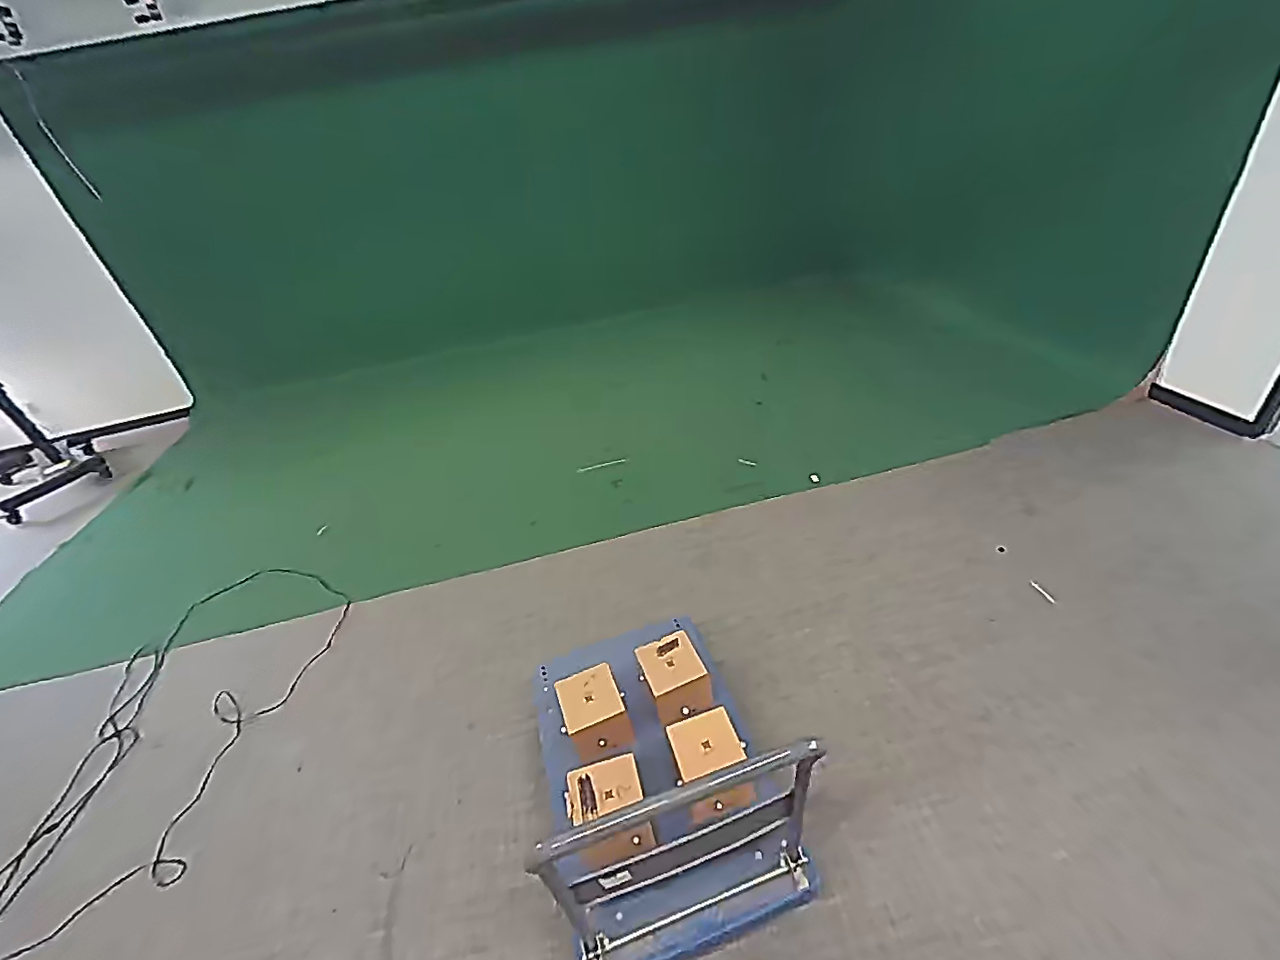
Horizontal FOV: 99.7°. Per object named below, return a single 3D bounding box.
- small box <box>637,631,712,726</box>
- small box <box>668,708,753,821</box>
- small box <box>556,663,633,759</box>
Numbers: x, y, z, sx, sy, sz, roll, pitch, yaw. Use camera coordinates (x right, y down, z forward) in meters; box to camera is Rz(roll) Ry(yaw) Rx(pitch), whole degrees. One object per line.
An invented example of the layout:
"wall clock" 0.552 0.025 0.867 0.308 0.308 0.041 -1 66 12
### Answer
"small box" 0.103 0.592 1.614 0.168 0.176 0.179 -20 37 -11
"small box" 0.181 0.735 1.399 0.168 0.176 0.179 -16 36 -8
"small box" -0.130 0.674 1.562 0.168 0.176 0.179 -18 36 -12
